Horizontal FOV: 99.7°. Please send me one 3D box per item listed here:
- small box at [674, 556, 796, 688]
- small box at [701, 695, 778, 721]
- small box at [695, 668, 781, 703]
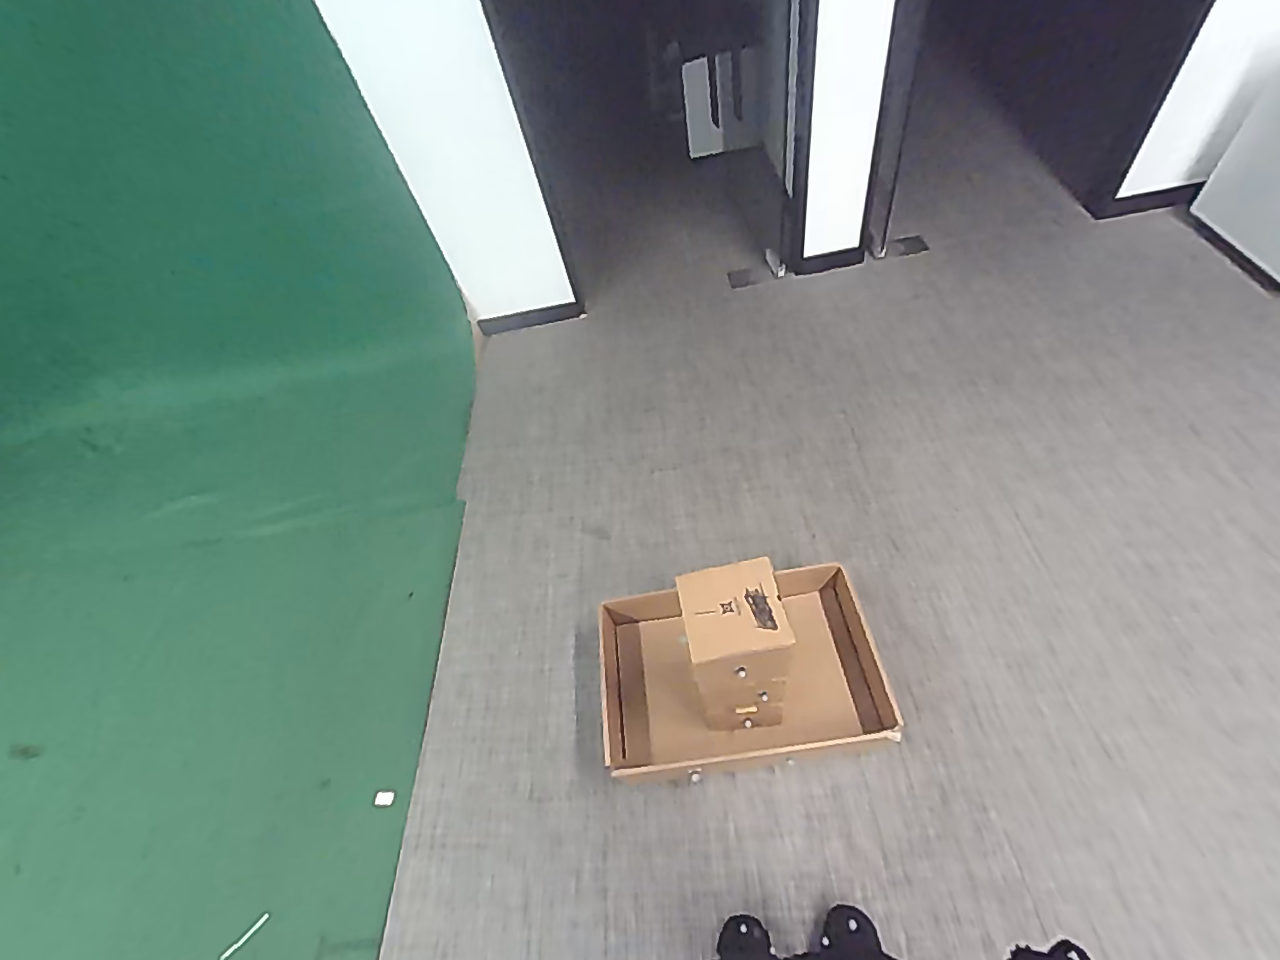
[{"bbox_3d":[0.170,0.266,0.999,0.179,0.176,0.168,-14,53,1],"label":"small box"},{"bbox_3d":[0.226,0.453,1.260,0.168,0.176,0.179,-8,53,7],"label":"small box"},{"bbox_3d":[0.197,0.356,1.133,0.168,0.176,0.179,-9,51,6],"label":"small box"}]
